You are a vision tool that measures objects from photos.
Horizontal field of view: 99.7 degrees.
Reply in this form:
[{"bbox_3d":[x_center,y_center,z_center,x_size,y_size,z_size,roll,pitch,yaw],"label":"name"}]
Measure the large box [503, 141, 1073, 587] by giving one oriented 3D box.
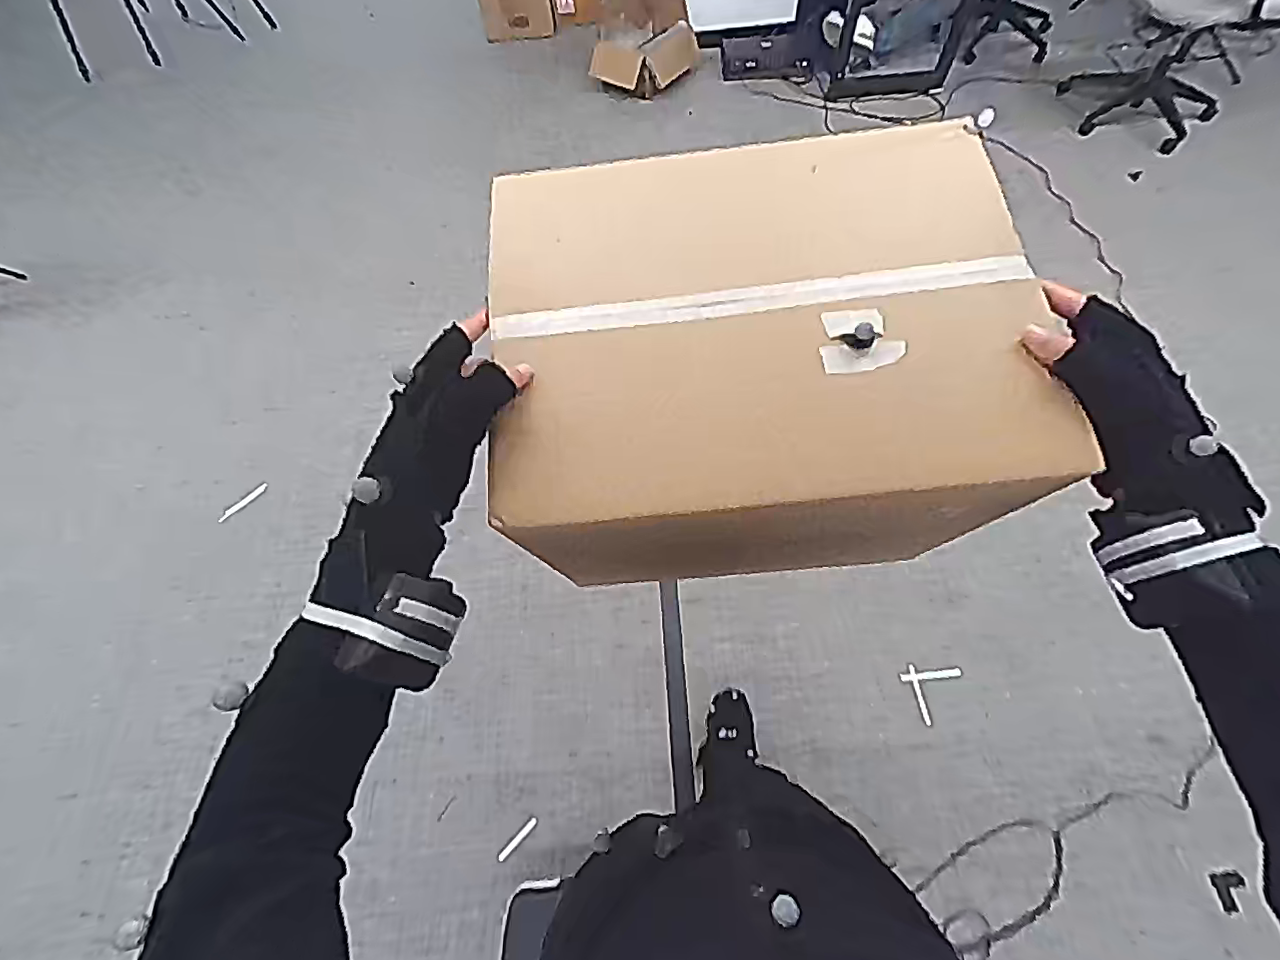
[{"bbox_3d":[0.097,-0.082,0.566,0.408,0.320,0.320,-6,71,2],"label":"large box"}]
